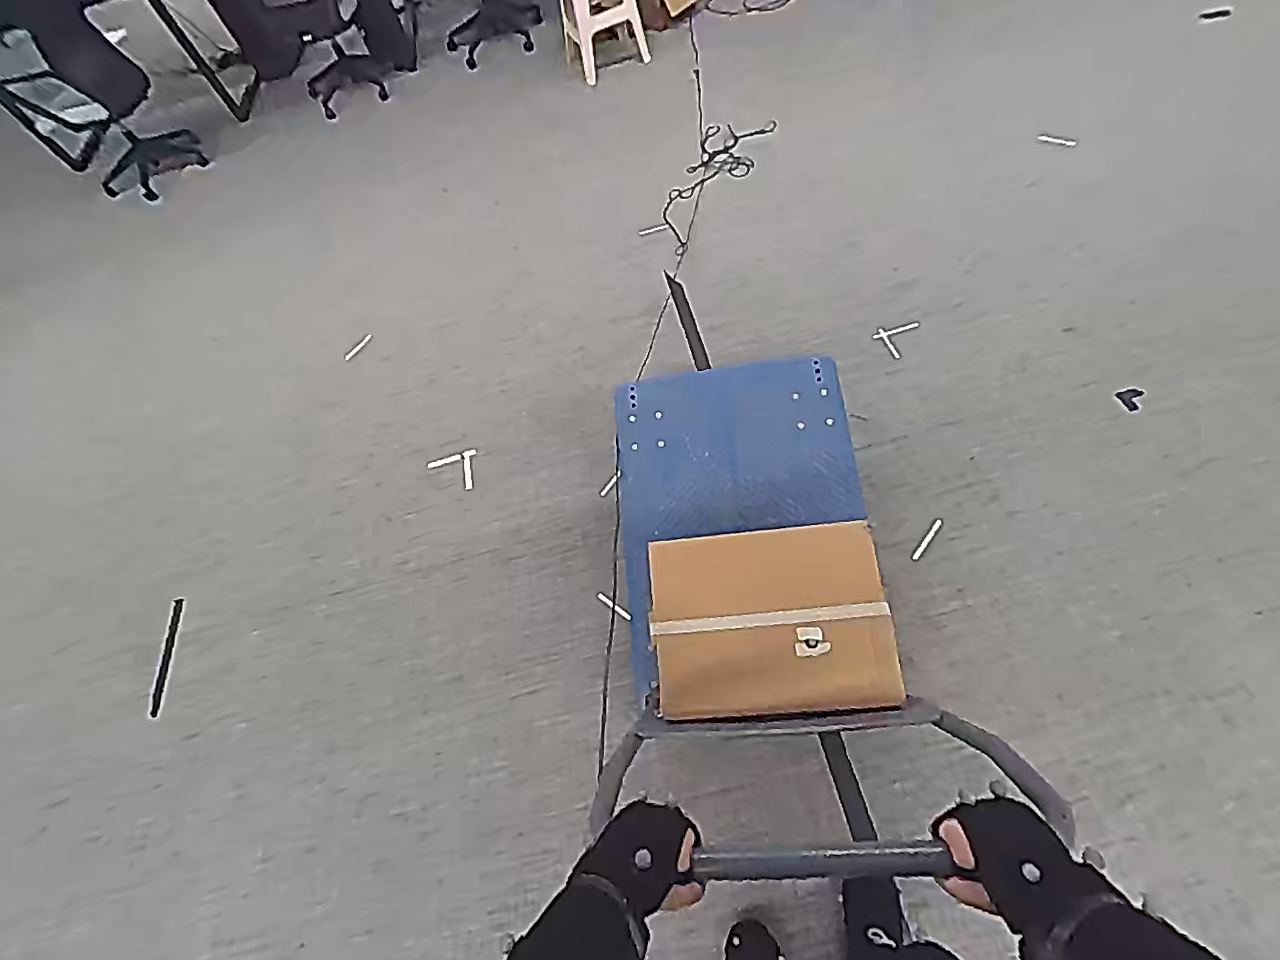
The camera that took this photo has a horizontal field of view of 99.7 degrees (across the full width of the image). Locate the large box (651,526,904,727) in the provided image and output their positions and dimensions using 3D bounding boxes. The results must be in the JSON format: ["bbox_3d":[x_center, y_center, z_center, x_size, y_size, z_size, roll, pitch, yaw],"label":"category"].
[{"bbox_3d":[0.250,0.299,1.103,0.408,0.320,0.320,-7,73,6],"label":"large box"}]
